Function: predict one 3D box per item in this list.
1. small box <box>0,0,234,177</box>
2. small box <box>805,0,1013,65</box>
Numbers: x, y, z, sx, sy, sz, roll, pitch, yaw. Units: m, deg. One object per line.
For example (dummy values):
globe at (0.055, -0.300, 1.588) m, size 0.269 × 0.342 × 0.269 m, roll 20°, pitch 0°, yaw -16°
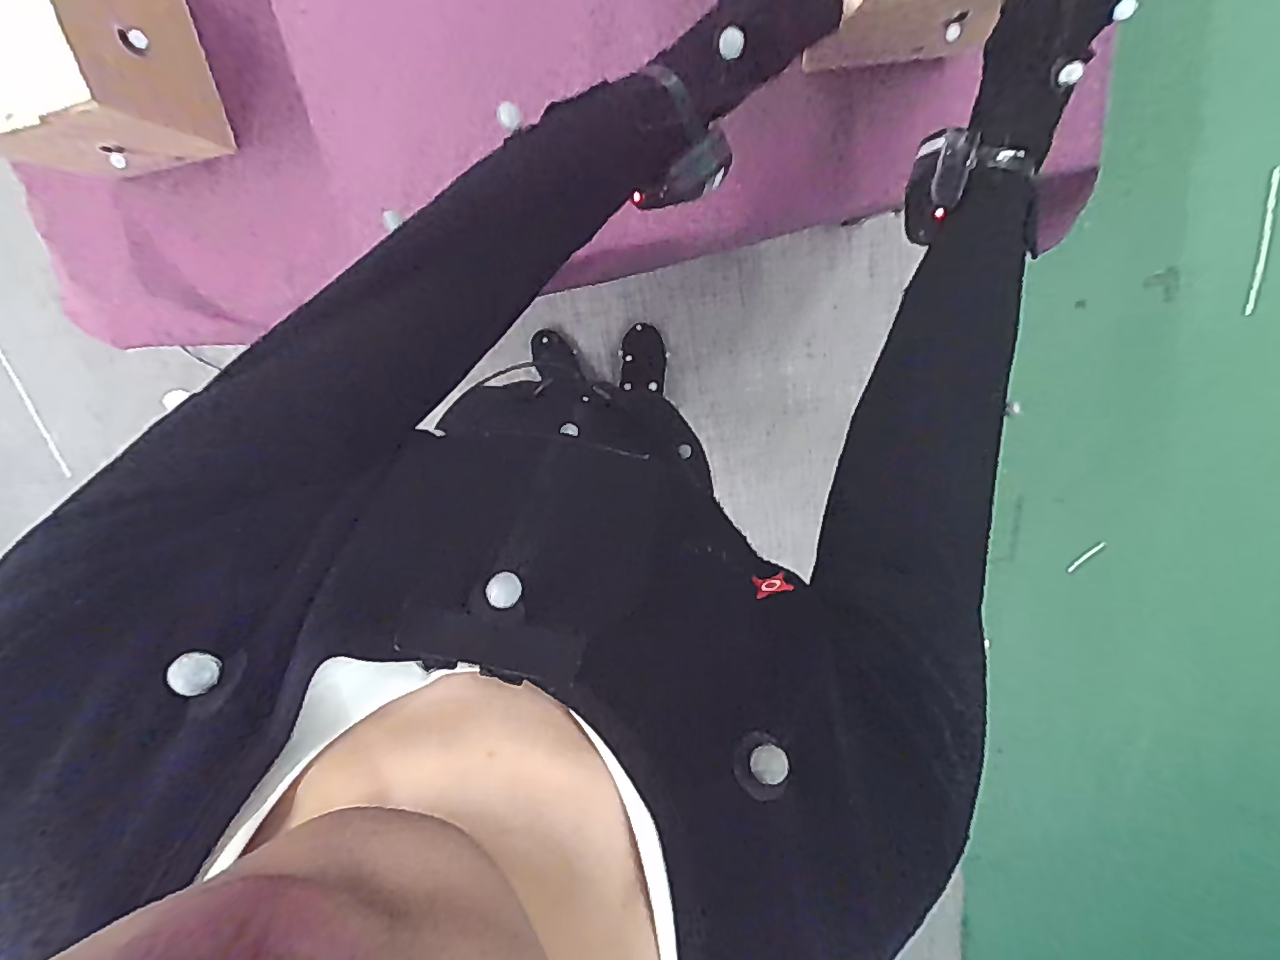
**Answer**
small box at (-0.554, -0.414, 0.528) m, size 0.168 × 0.176 × 0.179 m, roll -9°, pitch 109°, yaw 6°
small box at (0.232, -0.476, 0.448) m, size 0.168 × 0.176 × 0.179 m, roll 1°, pitch 110°, yaw 11°
